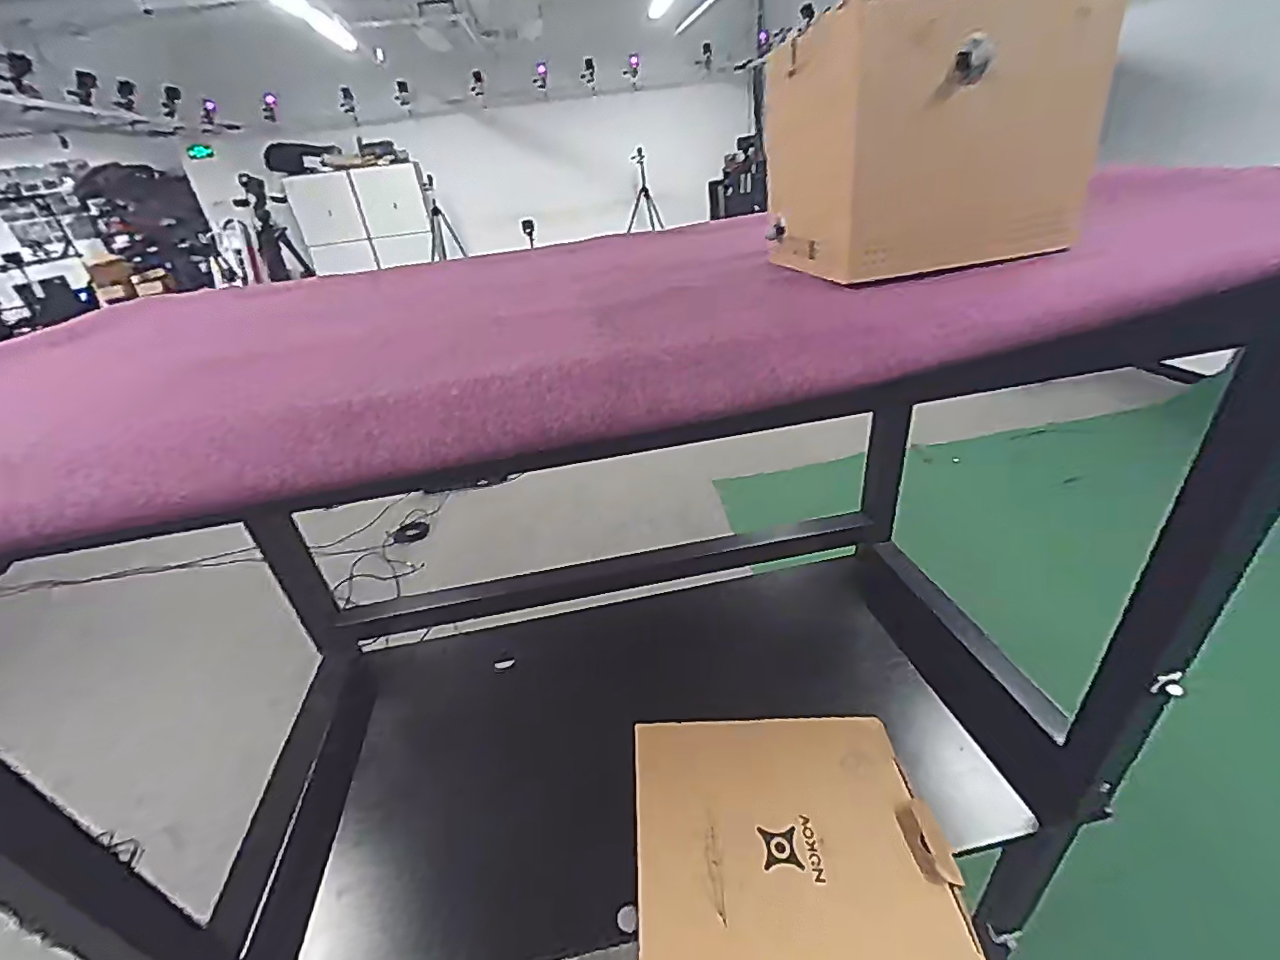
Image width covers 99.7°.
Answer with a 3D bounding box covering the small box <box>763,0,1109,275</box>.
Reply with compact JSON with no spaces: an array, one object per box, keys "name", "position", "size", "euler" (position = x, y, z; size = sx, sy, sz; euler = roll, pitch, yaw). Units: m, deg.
[{"name":"small box","position":[0.206,-0.264,0.420],"size":[0.179,0.176,0.168],"euler":[-10,29,-4]}]
